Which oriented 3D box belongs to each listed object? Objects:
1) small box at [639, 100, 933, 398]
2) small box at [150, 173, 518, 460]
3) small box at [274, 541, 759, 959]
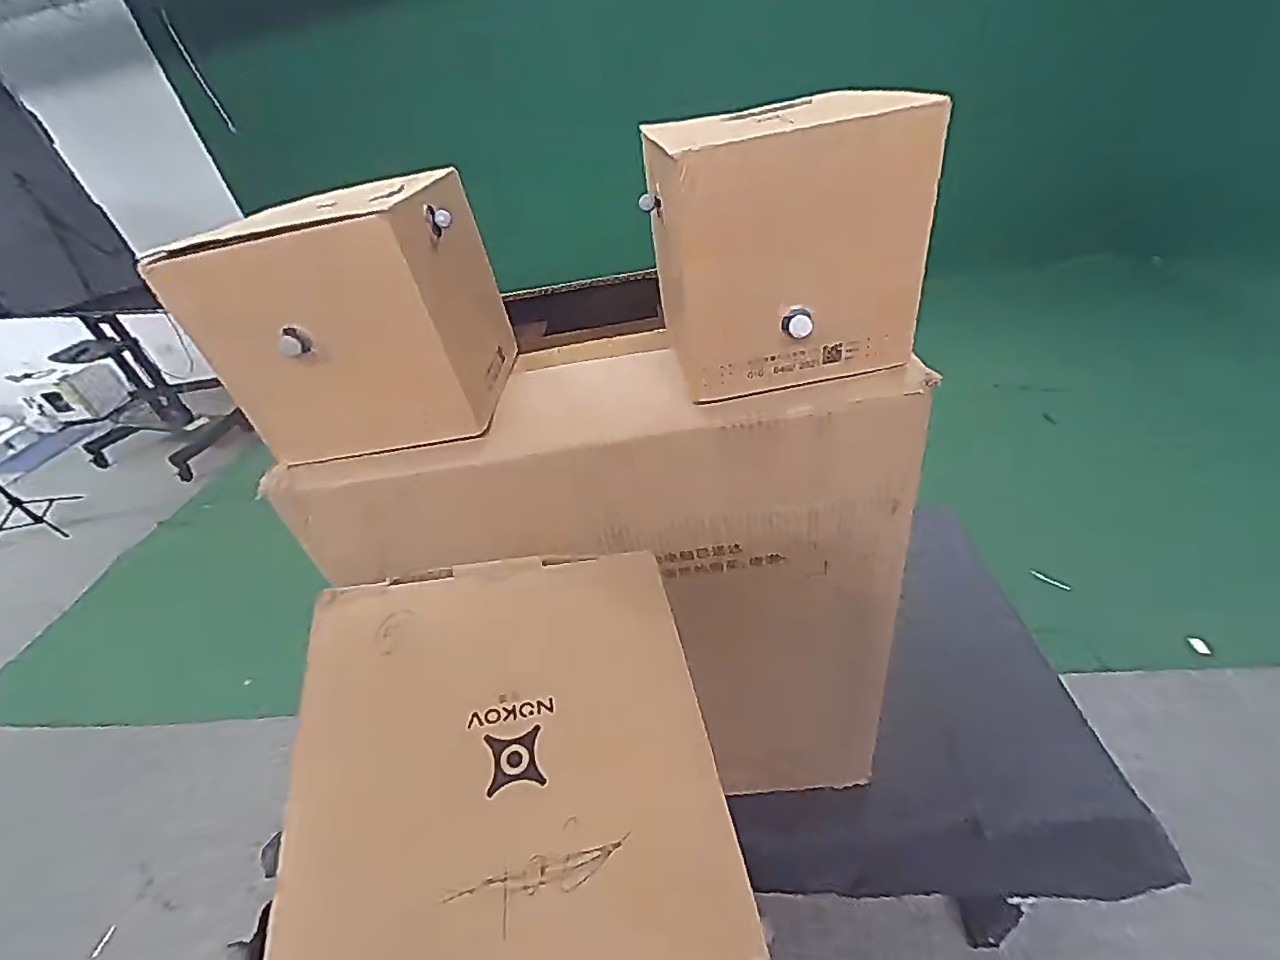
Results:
[{"bbox_3d":[0.096,-0.186,0.432,0.168,0.176,0.179,-11,38,1],"label":"small box"},{"bbox_3d":[-0.225,-0.134,0.456,0.179,0.176,0.168,-10,38,7],"label":"small box"},{"bbox_3d":[-0.064,0.157,0.289,0.168,0.176,0.179,-6,53,-14],"label":"small box"}]
